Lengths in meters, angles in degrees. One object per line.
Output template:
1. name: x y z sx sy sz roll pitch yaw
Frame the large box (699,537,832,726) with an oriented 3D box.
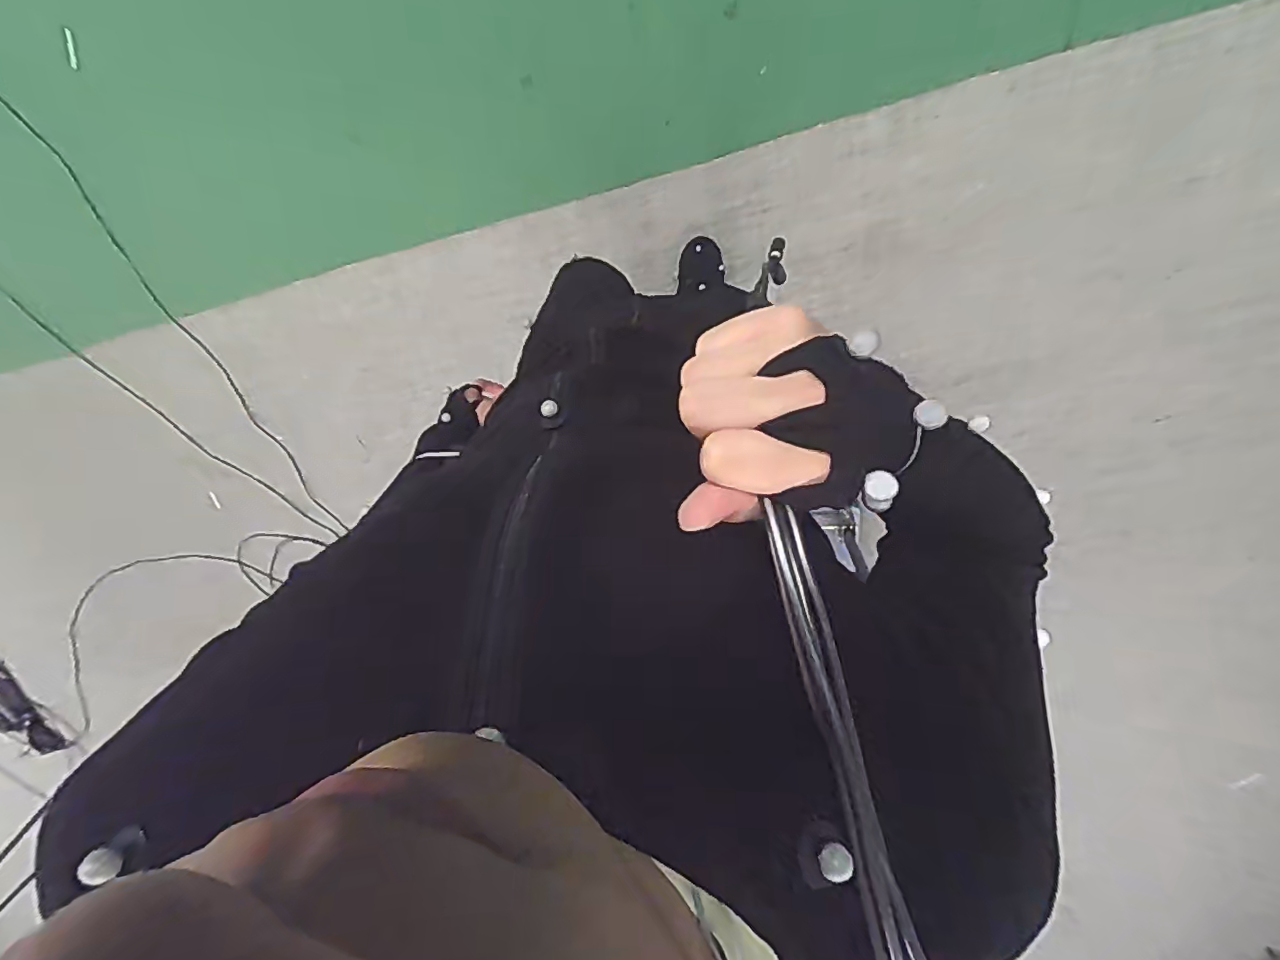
1. large box: 0.327 0.402 1.490 0.320 0.320 0.408 1 114 9
